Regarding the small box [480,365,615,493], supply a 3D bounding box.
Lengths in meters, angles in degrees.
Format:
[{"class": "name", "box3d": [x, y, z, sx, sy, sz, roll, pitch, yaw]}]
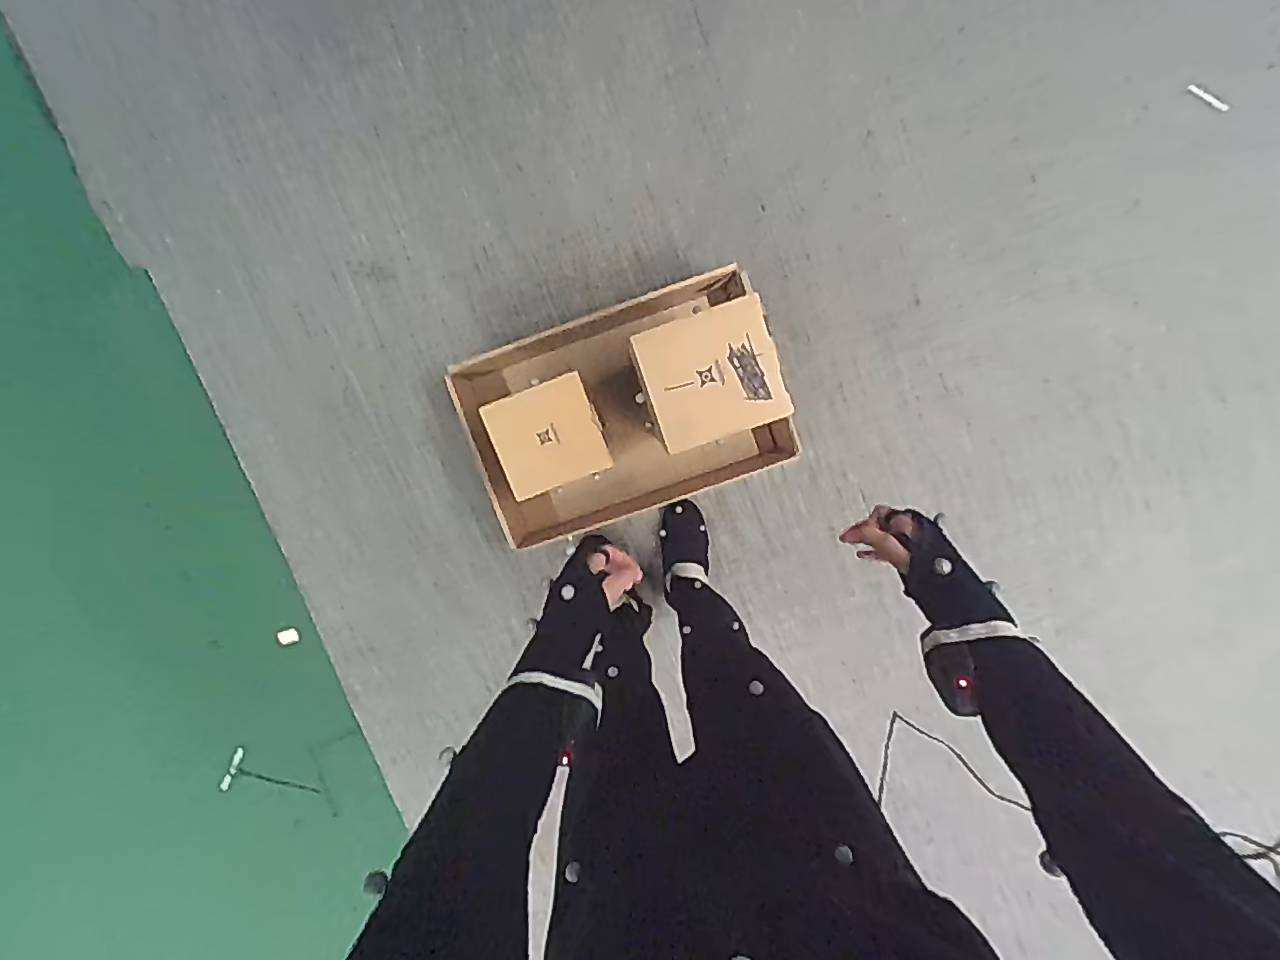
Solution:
[{"class": "small box", "box3d": [-0.153, -0.089, 0.960, 0.179, 0.176, 0.168, -22, 96, 1]}]

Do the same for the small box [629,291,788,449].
[{"class": "small box", "box3d": [0.091, -0.154, 0.785, 0.179, 0.176, 0.168, -18, 97, 3]}]
